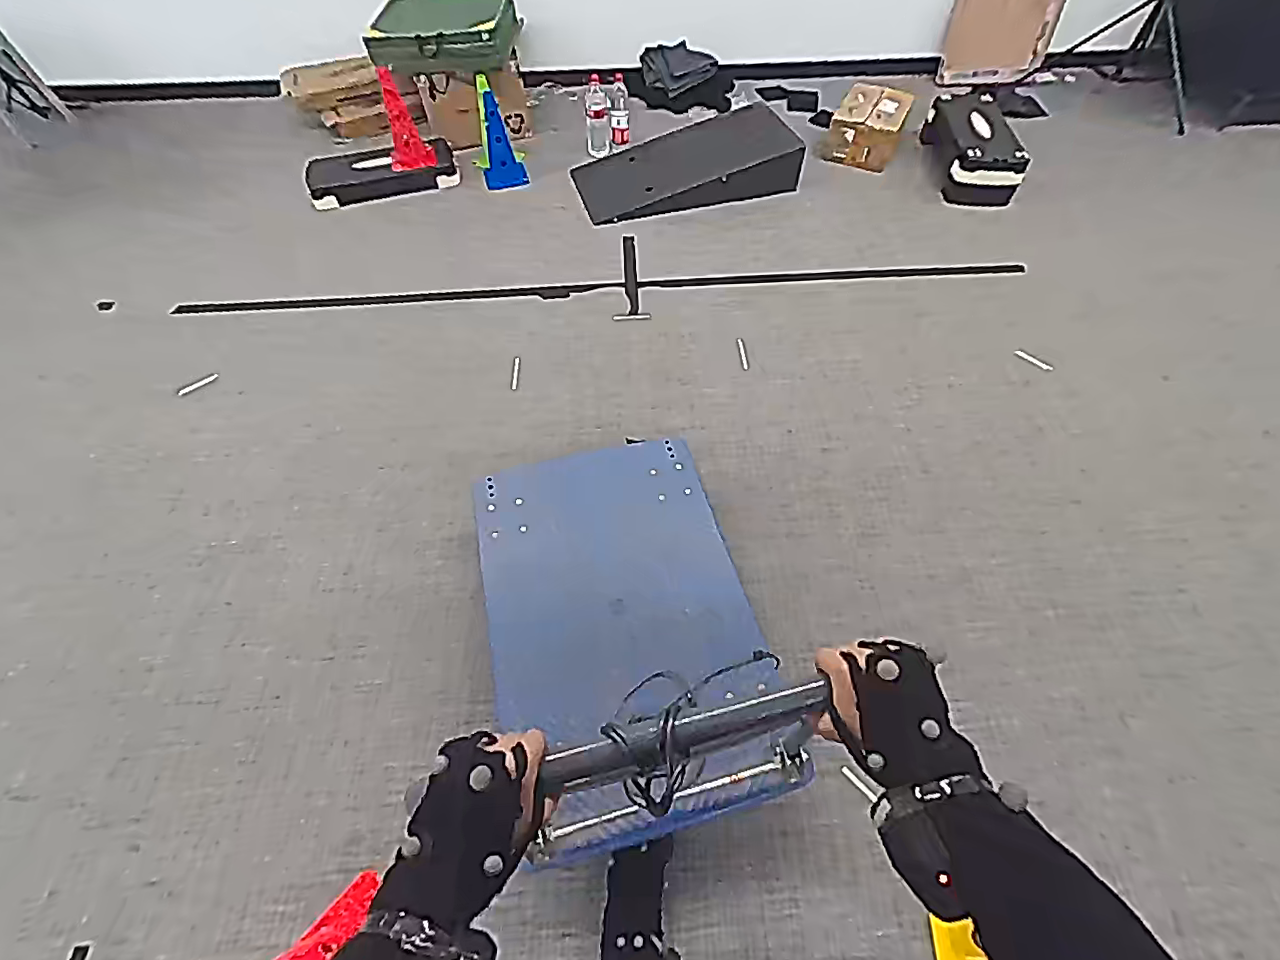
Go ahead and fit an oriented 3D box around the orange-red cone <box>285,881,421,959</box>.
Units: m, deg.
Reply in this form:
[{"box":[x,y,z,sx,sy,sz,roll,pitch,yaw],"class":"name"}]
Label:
[{"box":[-0.530,0.796,0.856,0.198,0.360,0.199,37,62,22],"class":"orange-red cone"}]
